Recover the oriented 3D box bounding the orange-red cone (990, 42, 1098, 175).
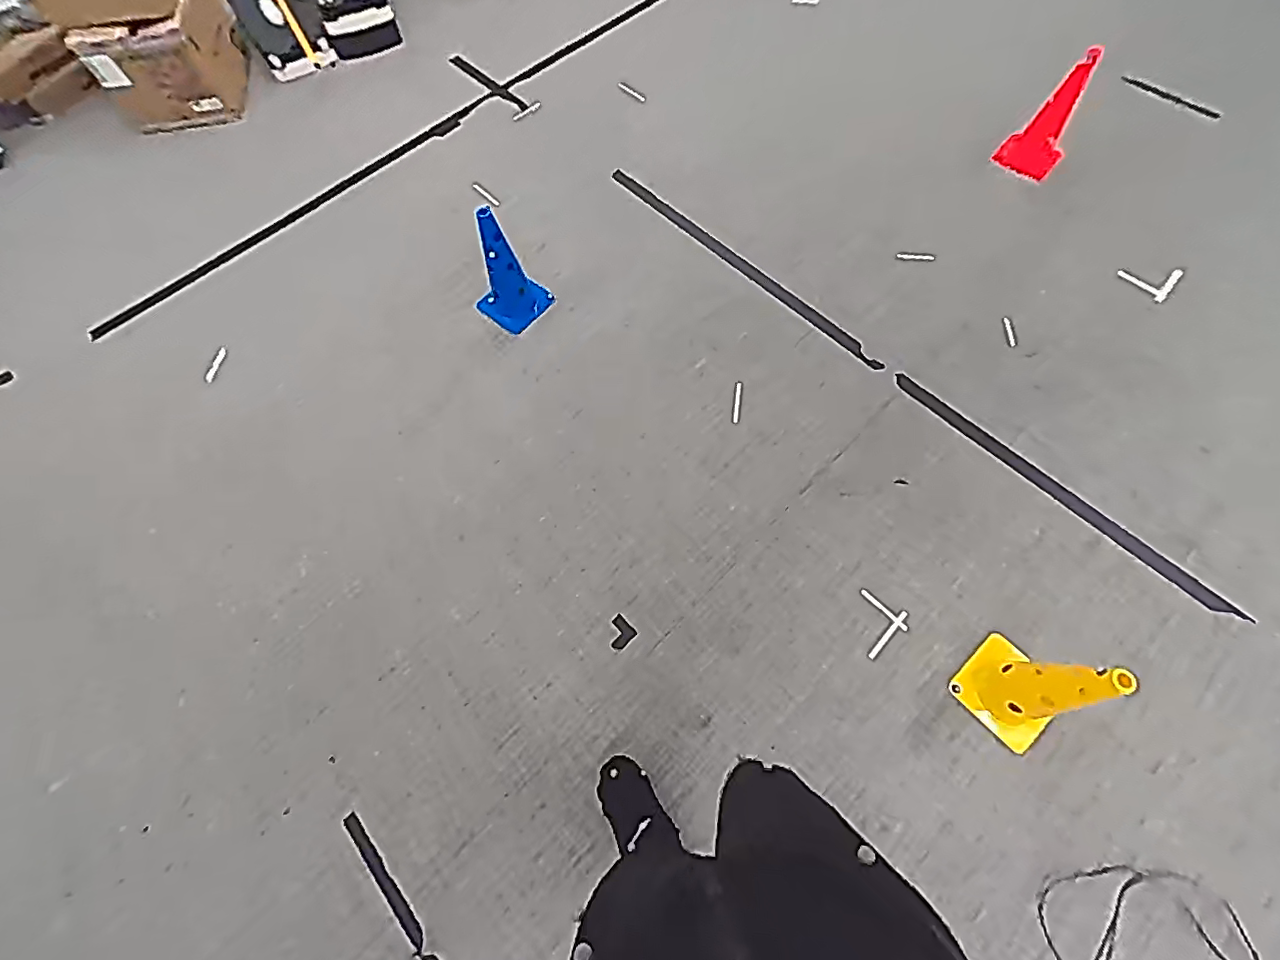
[{"bbox_3d":[1.422,-1.289,1.854,0.199,0.360,0.198,38,72,18],"label":"orange-red cone"}]

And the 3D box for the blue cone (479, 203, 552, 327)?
[{"bbox_3d":[-0.423,-0.667,1.653,0.193,0.380,0.192,38,72,17],"label":"blue cone"}]
